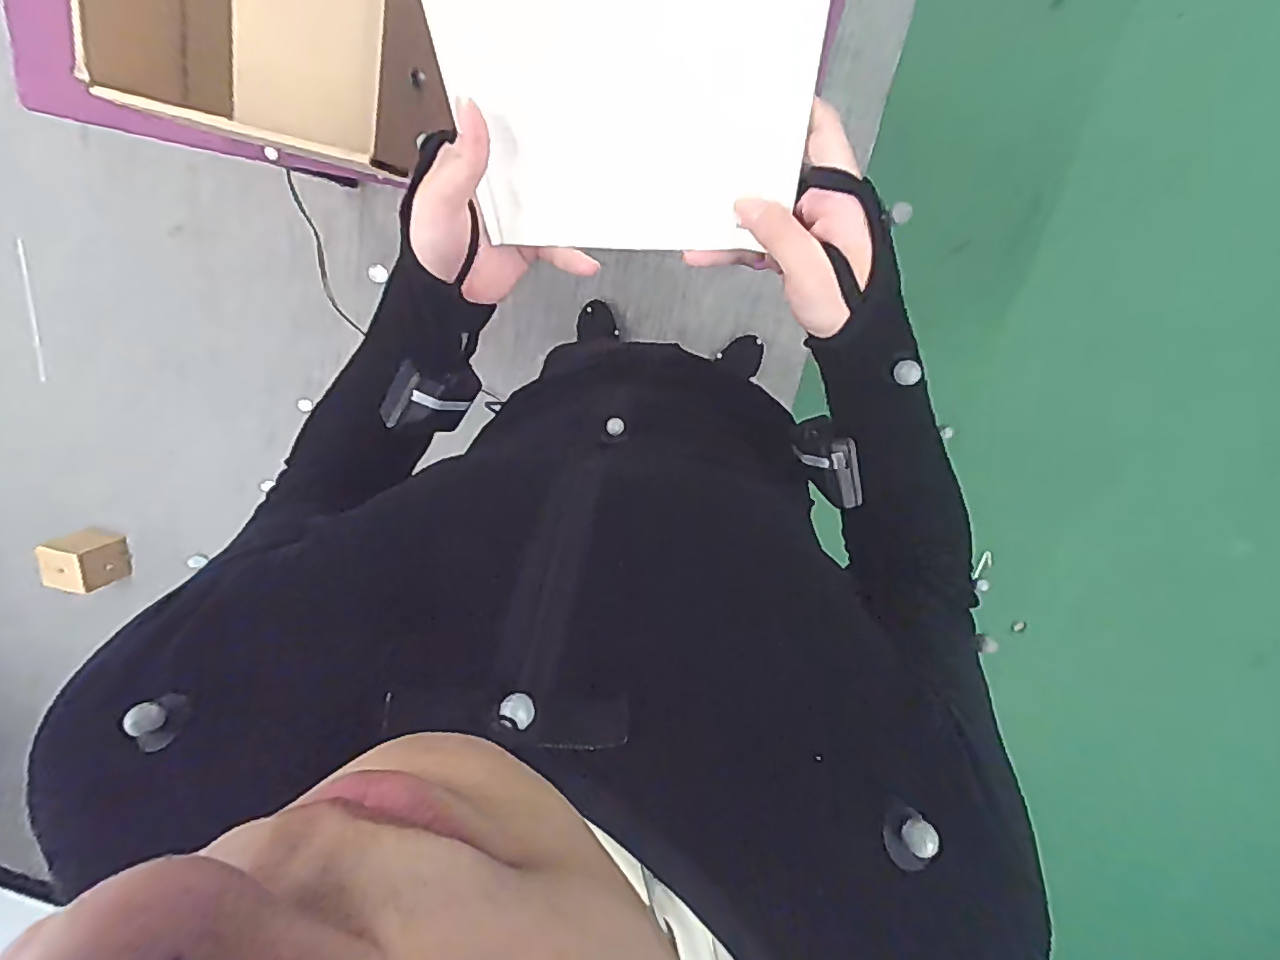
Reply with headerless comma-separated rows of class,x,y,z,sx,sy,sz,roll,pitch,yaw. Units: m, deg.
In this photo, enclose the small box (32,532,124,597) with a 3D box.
small box,-2.070,0.307,2.005,0.179,0.176,0.168,11,108,6
